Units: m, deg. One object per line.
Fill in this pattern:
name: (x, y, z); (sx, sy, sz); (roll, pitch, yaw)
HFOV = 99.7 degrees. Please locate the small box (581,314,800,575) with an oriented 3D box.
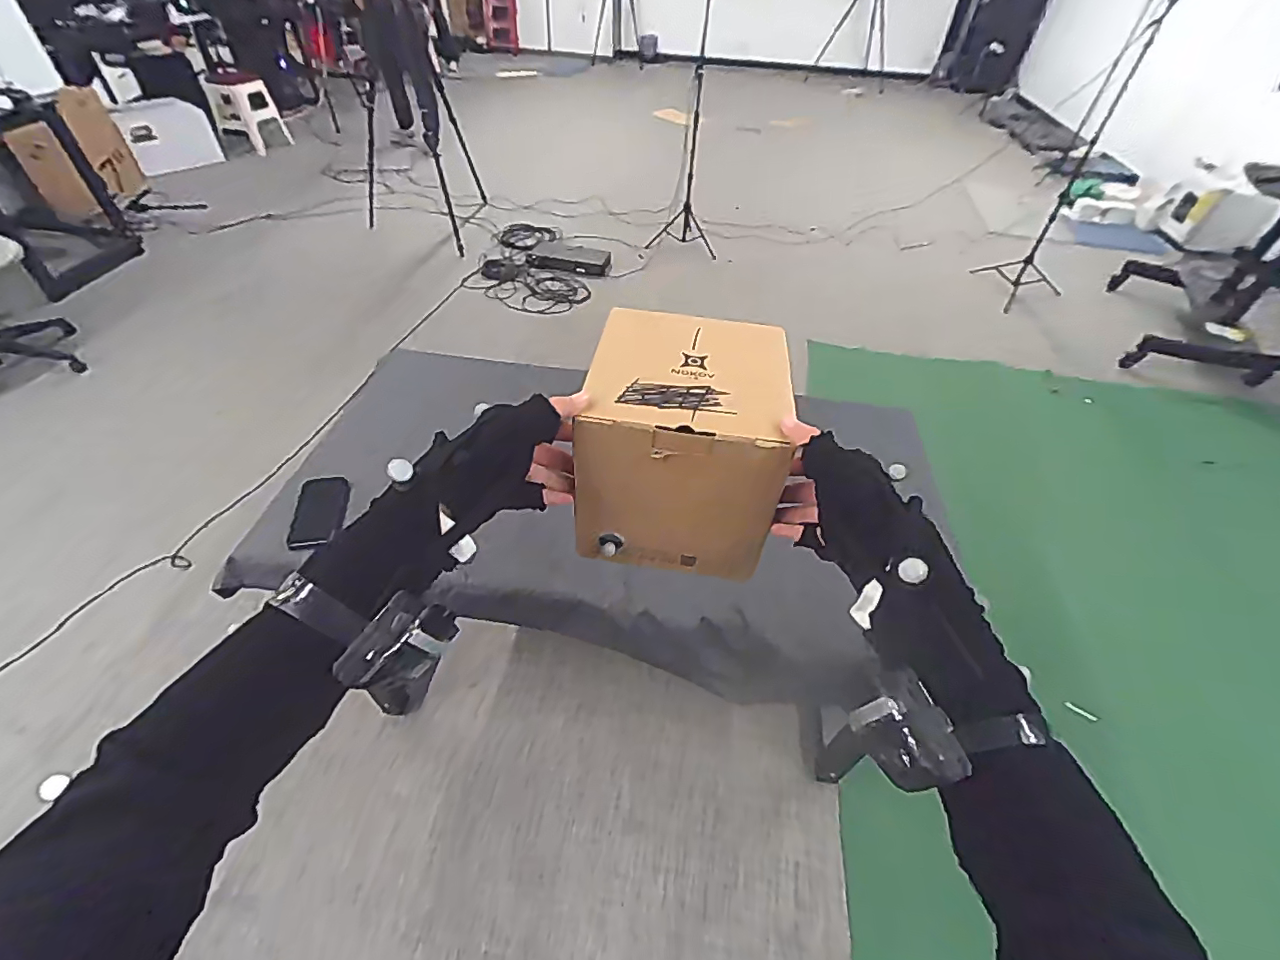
small box: (0.044, -0.033, 0.511); (0.168, 0.176, 0.179); (8, 43, 3)
